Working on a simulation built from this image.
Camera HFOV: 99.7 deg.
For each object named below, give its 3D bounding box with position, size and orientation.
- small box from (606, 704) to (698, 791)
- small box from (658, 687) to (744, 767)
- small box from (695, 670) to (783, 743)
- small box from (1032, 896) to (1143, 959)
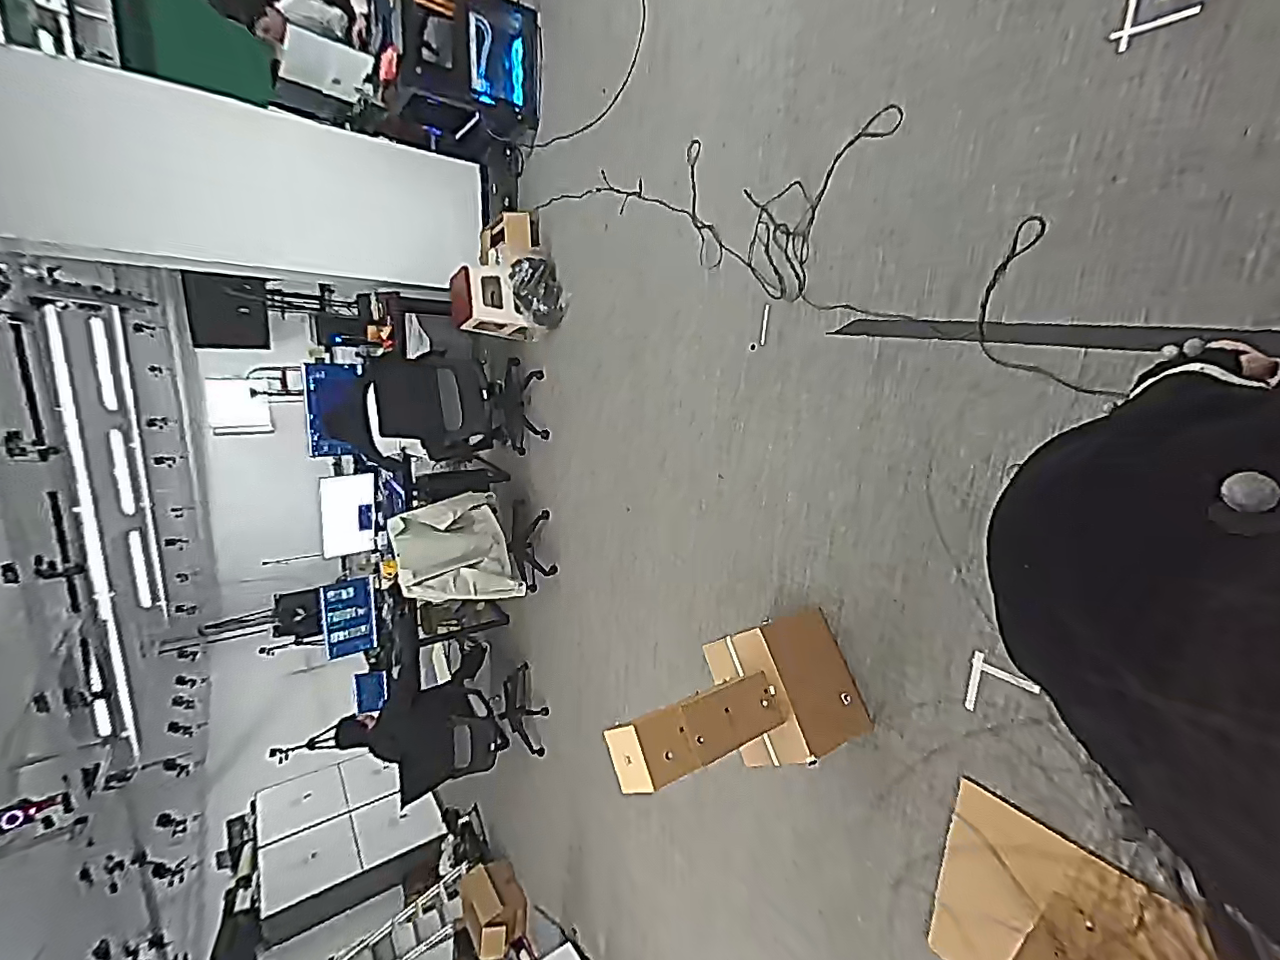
[{"bbox_3d":[0.039,0.731,1.481,0.179,0.176,0.168,-44,60,49],"label":"small box"},{"bbox_3d":[0.171,0.720,1.576,0.179,0.176,0.168,-44,61,49],"label":"small box"},{"bbox_3d":[0.306,0.704,1.668,0.179,0.176,0.168,-43,61,48],"label":"small box"},{"bbox_3d":[1.025,1.126,1.241,0.168,0.176,0.179,7,101,52],"label":"small box"}]
